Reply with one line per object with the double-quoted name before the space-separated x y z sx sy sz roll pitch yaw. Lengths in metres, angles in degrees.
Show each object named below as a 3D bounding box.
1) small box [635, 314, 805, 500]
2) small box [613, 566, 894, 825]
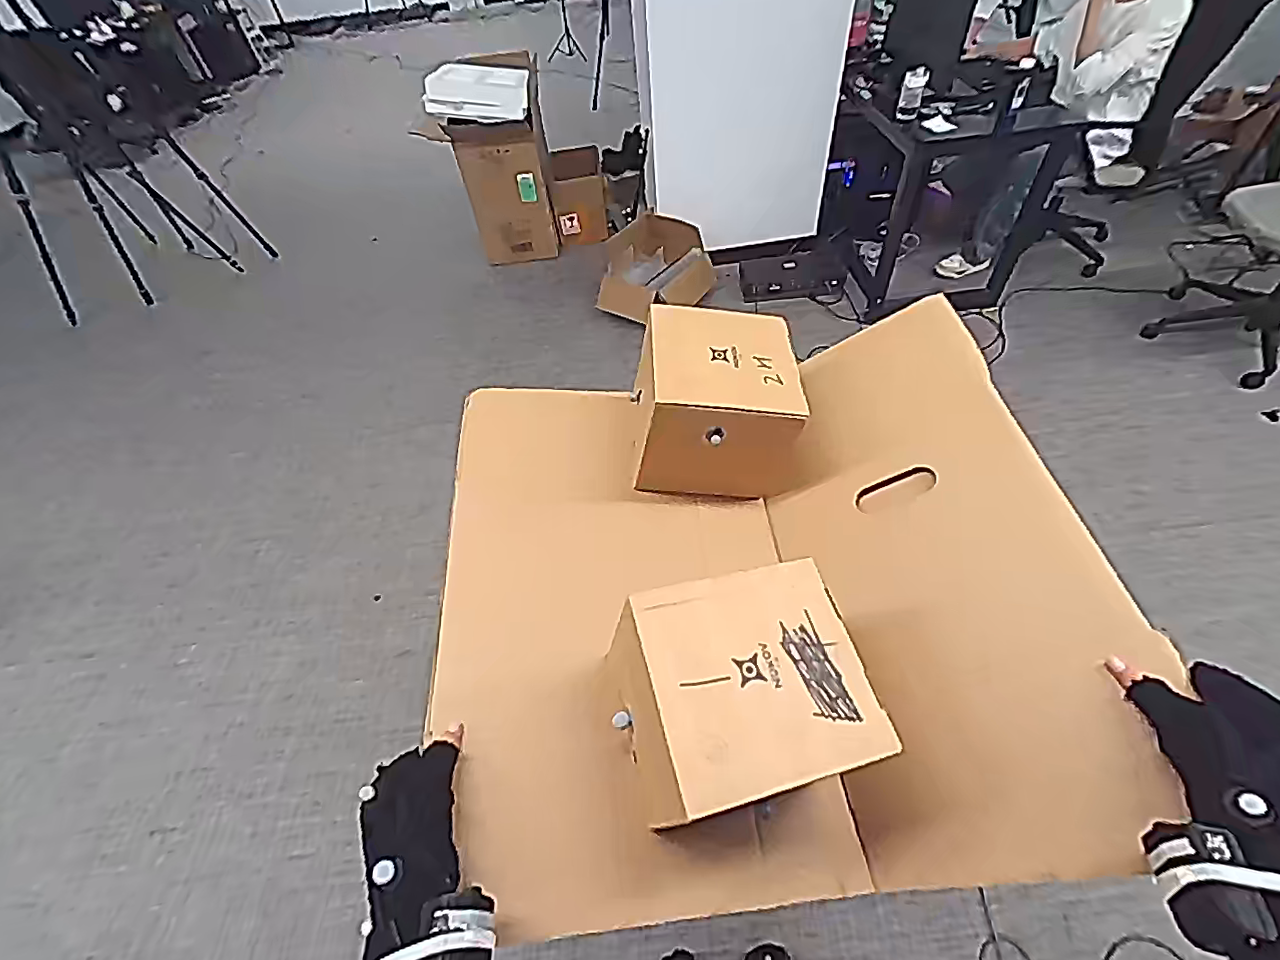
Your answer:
"small box" 0.087 -0.087 0.699 0.179 0.176 0.168 5 55 -7
"small box" 0.083 0.199 0.497 0.179 0.176 0.168 -8 58 -15
